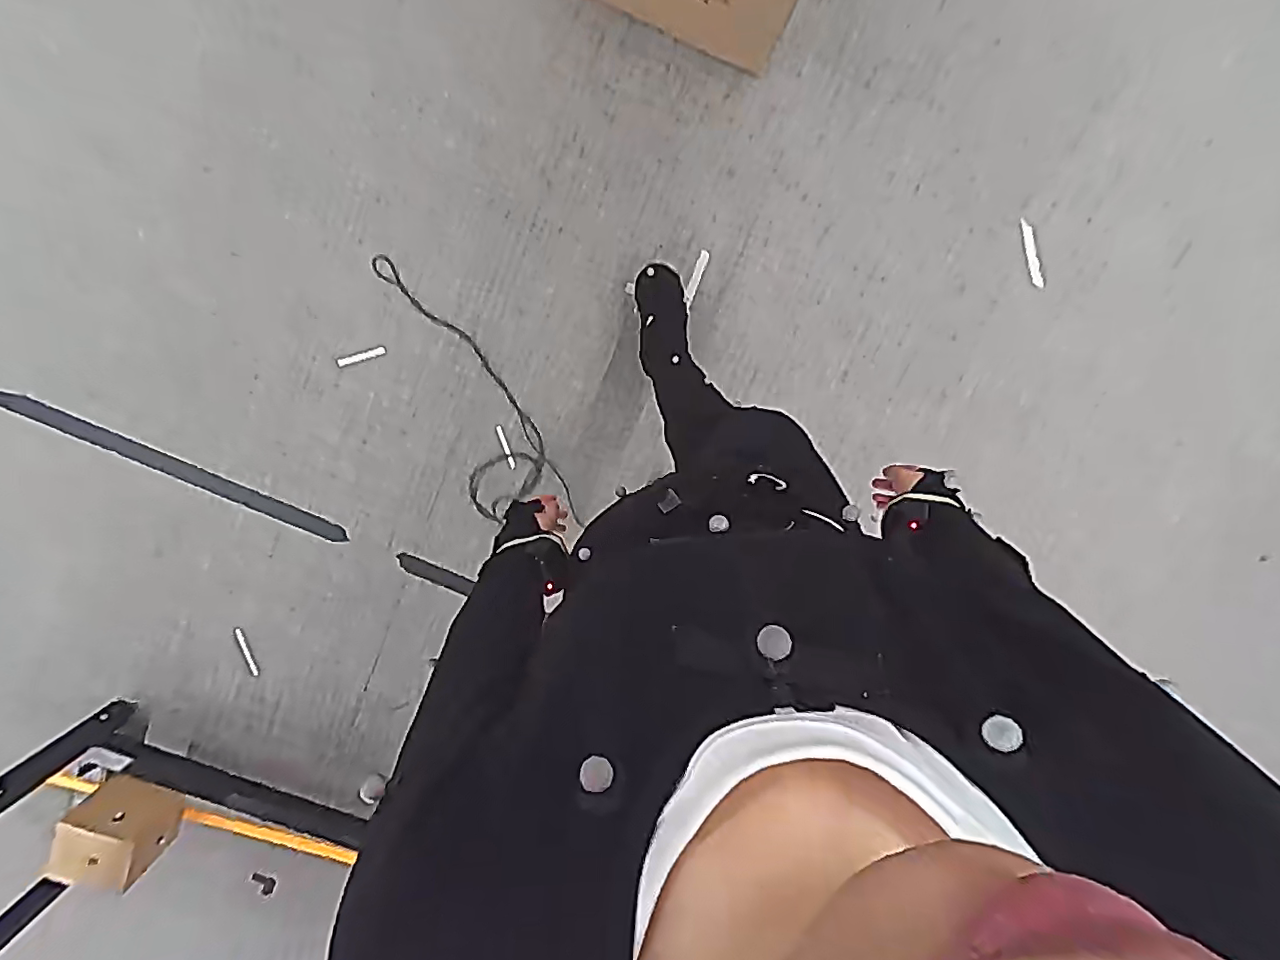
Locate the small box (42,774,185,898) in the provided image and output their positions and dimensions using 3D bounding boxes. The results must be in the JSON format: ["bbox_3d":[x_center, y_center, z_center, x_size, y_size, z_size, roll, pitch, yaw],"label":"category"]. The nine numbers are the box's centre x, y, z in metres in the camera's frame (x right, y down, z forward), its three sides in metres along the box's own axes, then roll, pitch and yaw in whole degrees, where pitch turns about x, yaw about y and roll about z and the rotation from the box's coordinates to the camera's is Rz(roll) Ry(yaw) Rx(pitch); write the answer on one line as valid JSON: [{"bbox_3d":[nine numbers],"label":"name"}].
[{"bbox_3d":[-1.266,0.855,1.314,0.179,0.176,0.168,22,100,-6],"label":"small box"}]
